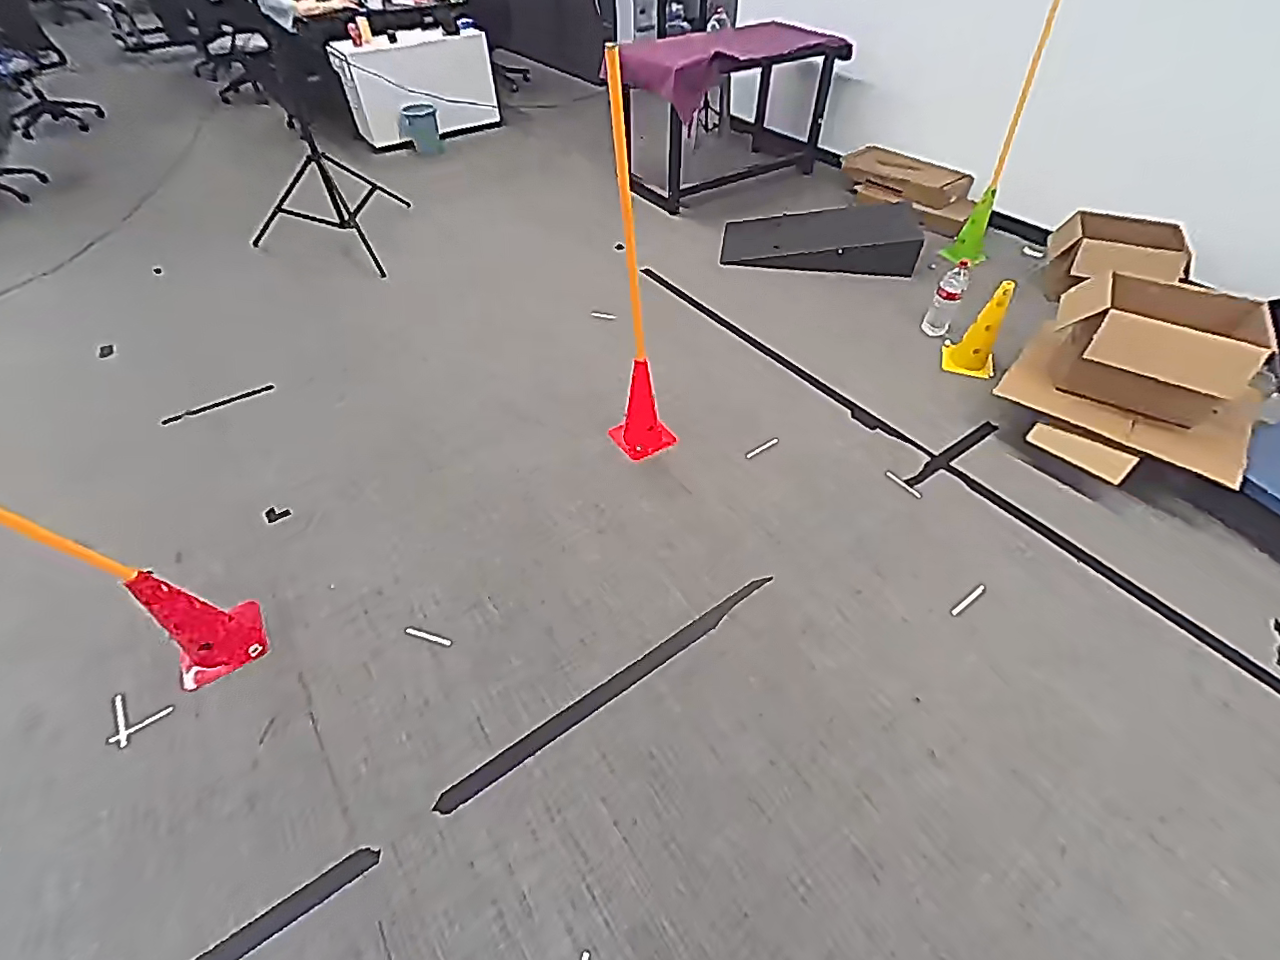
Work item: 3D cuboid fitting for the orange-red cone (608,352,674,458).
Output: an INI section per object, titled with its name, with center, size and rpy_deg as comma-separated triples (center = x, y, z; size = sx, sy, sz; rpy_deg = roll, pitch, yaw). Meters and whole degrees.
[orange-red cone]
center = 0.003, -0.285, 1.877
size = 0.199, 0.360, 0.198
rpy_deg = -25, 53, -21
